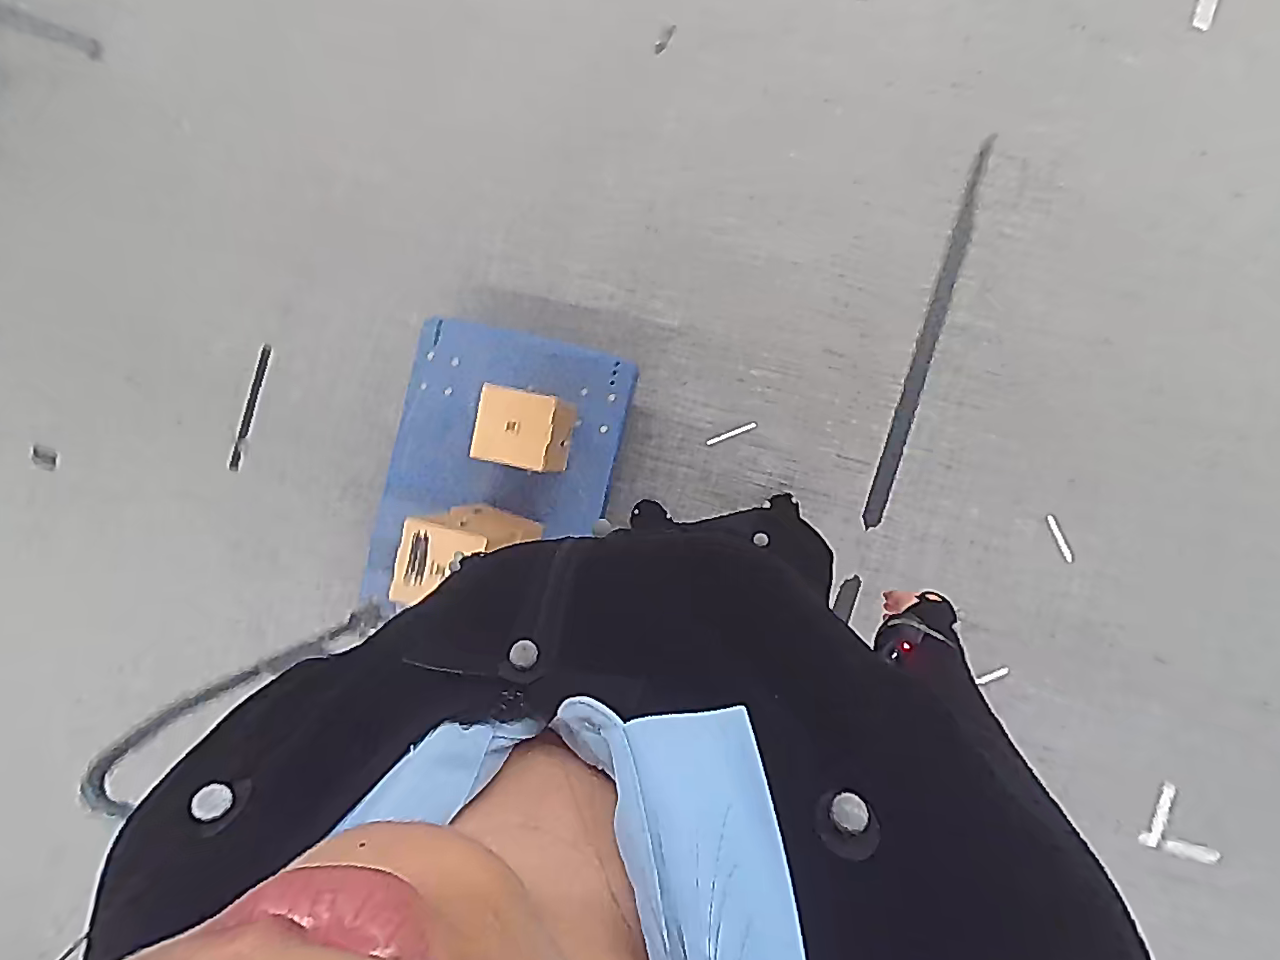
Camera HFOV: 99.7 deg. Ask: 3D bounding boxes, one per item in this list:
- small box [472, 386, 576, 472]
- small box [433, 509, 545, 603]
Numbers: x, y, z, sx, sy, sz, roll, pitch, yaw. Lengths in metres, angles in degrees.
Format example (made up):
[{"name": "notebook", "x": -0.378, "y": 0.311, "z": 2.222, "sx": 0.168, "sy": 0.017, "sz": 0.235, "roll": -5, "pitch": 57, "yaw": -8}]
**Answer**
[{"name": "small box", "x": -0.266, "y": -0.112, "z": 1.269, "sx": 0.179, "sy": 0.176, "sz": 0.168, "roll": 11, "pitch": 92, "yaw": 7}, {"name": "small box", "x": -0.349, "y": 0.170, "z": 1.278, "sx": 0.179, "sy": 0.176, "sz": 0.168, "roll": 17, "pitch": 93, "yaw": 7}]
